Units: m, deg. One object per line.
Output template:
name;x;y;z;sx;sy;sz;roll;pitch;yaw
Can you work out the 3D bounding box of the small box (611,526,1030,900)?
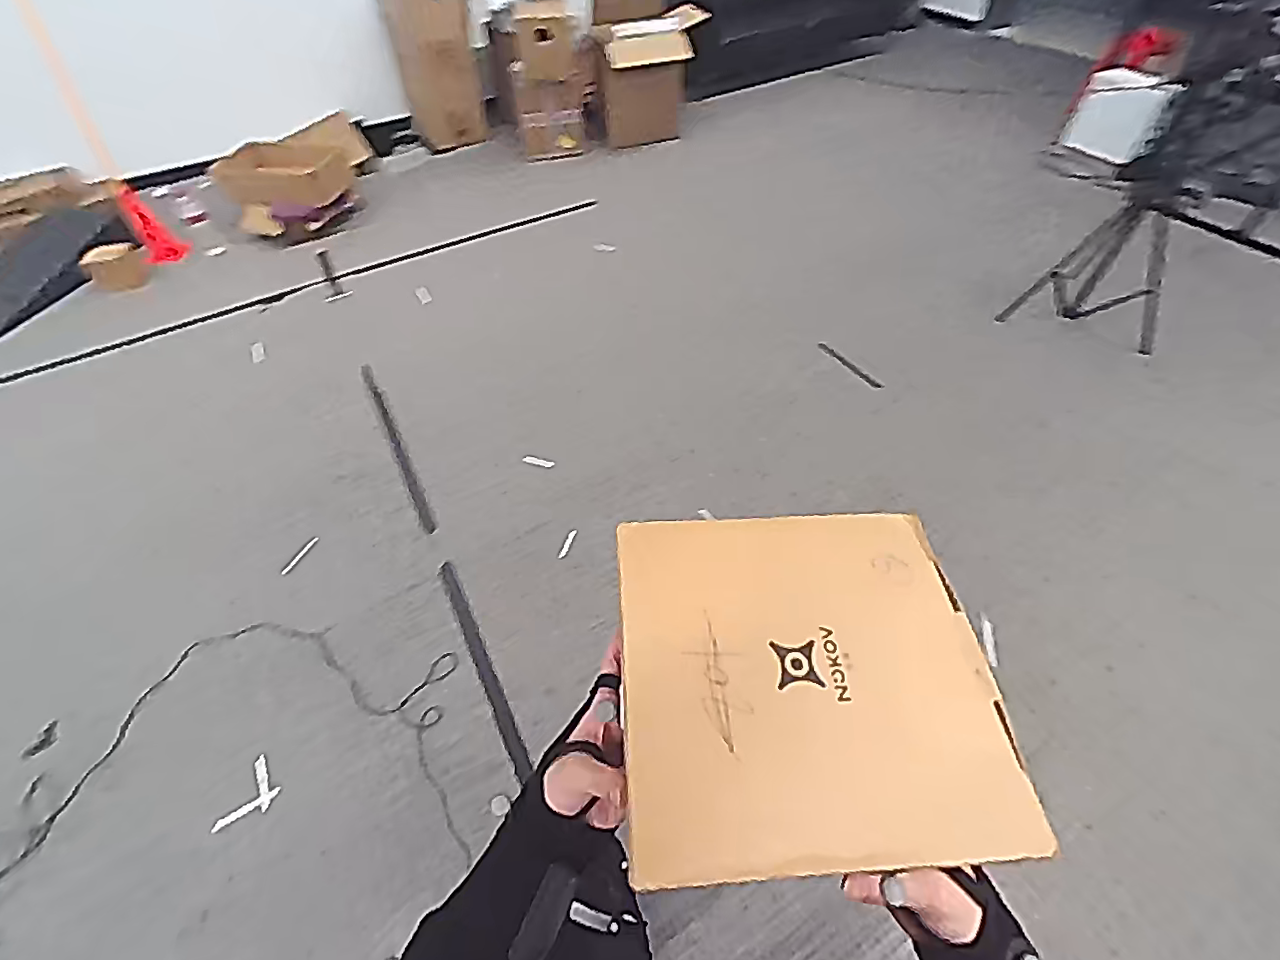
small box;0.073;0.144;0.333;0.179;0.176;0.168;-3;54;-4
